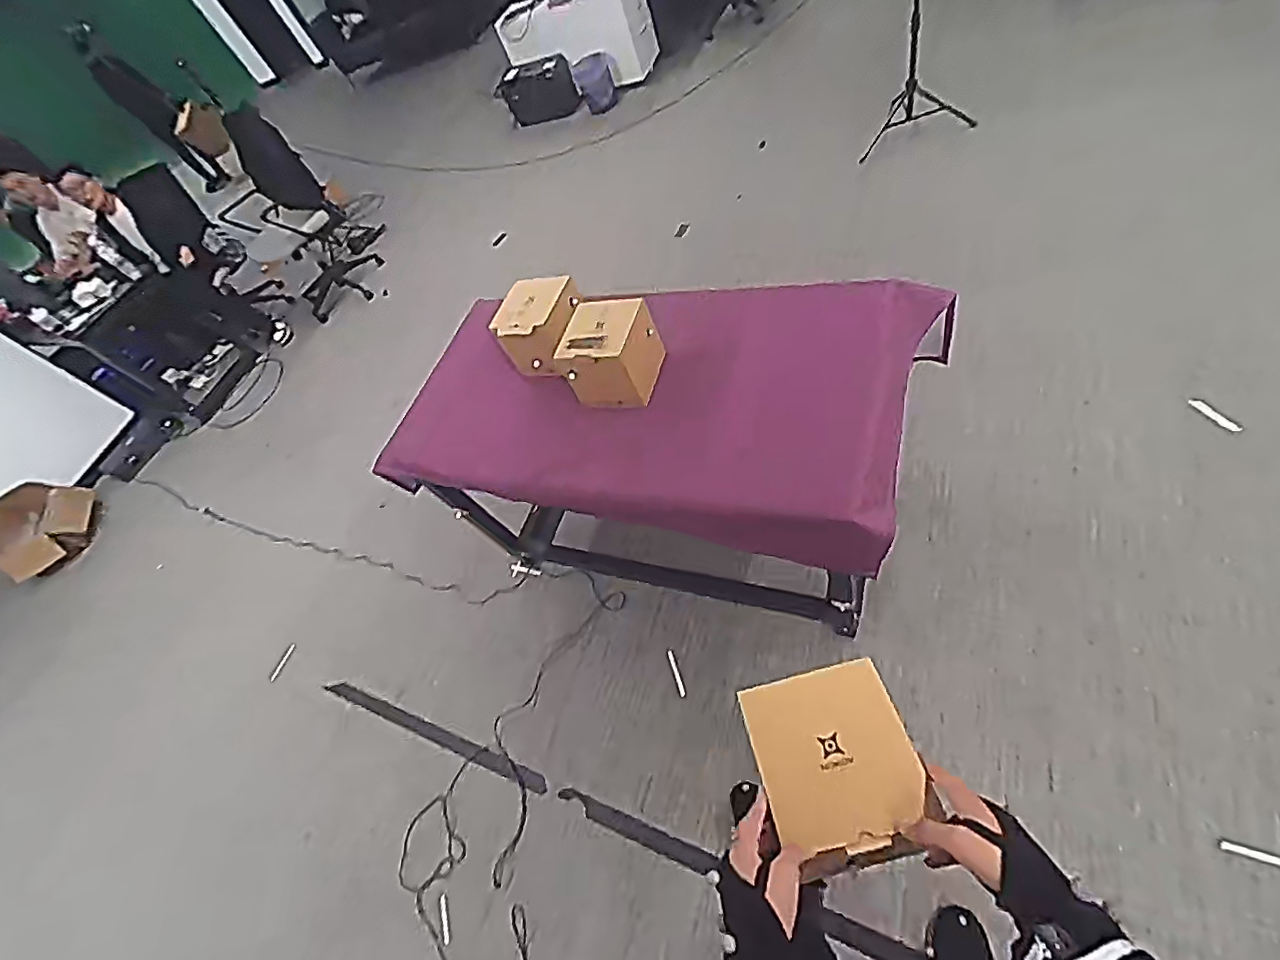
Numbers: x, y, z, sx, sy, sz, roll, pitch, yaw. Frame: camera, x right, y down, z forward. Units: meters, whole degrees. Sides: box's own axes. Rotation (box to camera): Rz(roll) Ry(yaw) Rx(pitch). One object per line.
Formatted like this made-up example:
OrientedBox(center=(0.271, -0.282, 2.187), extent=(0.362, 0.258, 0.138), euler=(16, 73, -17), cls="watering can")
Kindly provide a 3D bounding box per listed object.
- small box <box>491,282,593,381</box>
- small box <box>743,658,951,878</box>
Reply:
OrientedBox(center=(-0.238, -0.373, 1.371), extent=(0.168, 0.176, 0.179), euler=(5, 60, 26), cls="small box")
OrientedBox(center=(0.231, 0.345, 0.644), extent=(0.168, 0.176, 0.179), euler=(-17, 46, 4), cls="small box")
